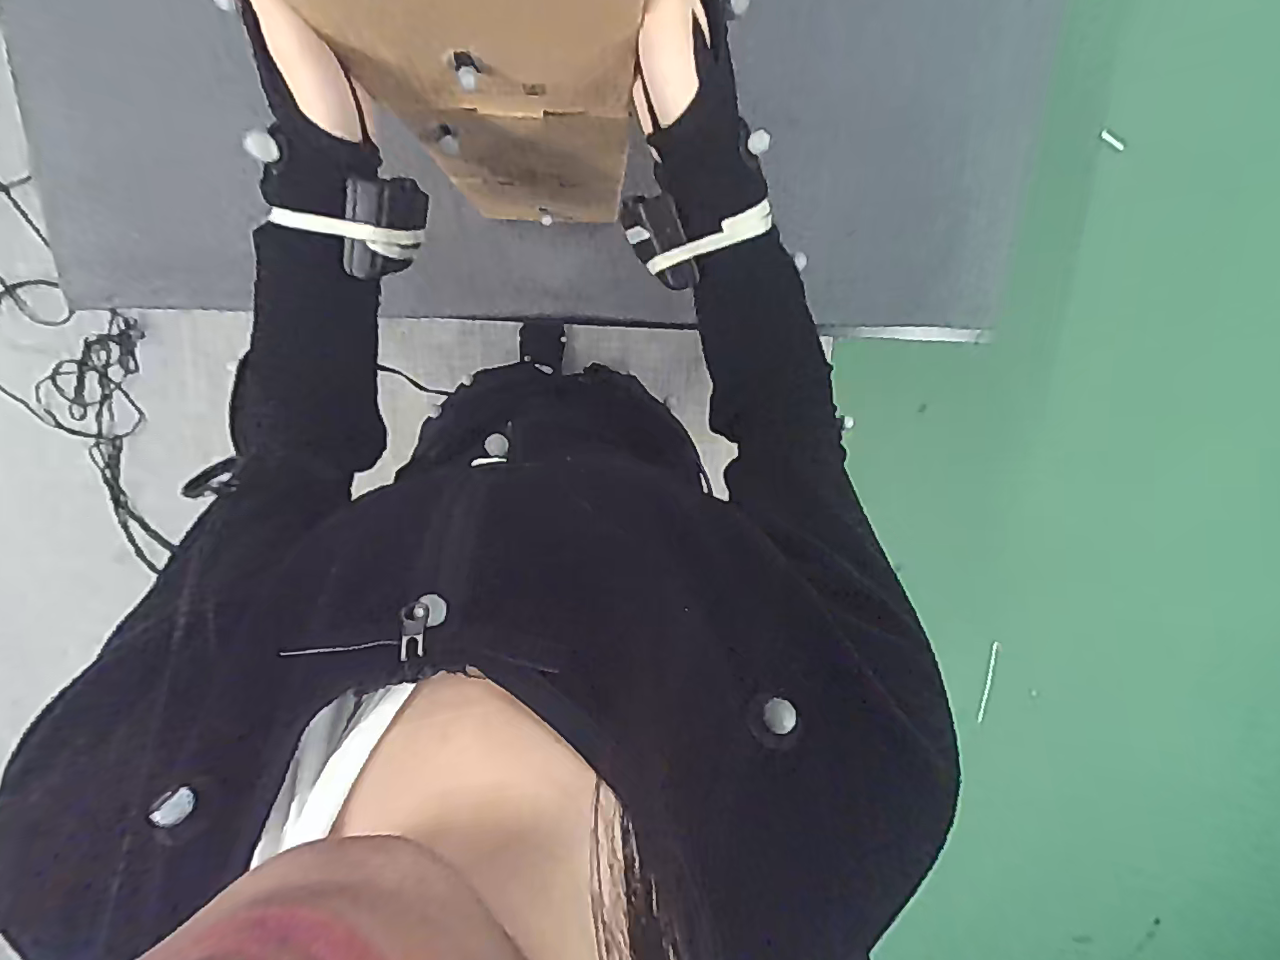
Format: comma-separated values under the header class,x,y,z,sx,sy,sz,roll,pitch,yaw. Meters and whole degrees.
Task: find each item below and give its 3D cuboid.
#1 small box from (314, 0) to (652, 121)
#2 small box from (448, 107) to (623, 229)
class,x,y,z,sx,sy,sz,roll,pitch,yaw
small box,-0.083,-0.309,0.266,0.168,0.176,0.179,-3,105,-5
small box,-0.105,-0.386,0.583,0.168,0.176,0.179,0,105,-4
